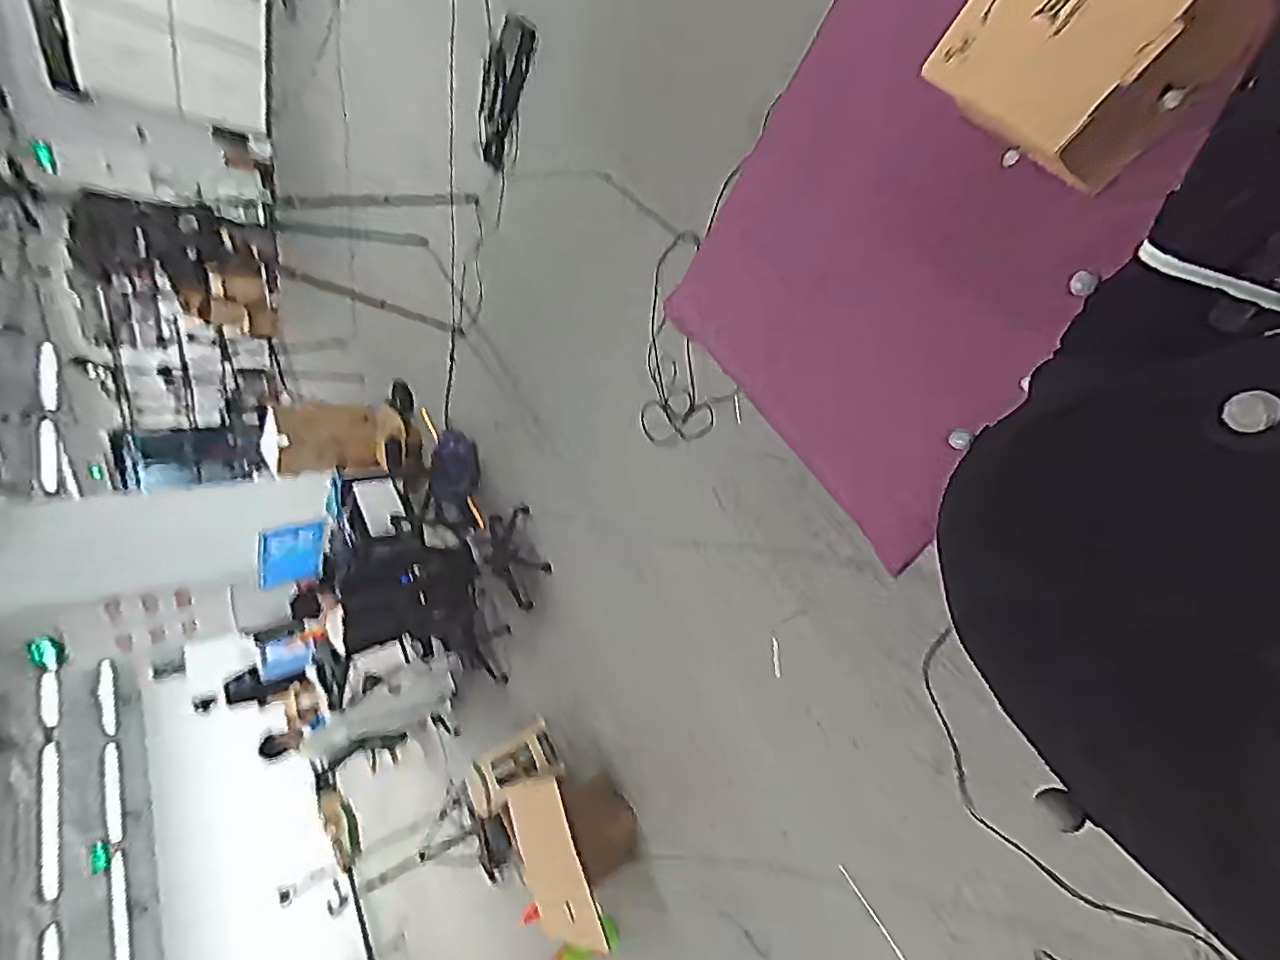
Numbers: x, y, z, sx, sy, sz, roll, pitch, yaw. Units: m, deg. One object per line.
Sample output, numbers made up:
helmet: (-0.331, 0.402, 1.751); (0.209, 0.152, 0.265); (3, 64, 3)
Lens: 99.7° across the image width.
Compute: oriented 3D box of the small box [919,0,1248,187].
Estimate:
small box: (0.426, -0.414, 0.526); (0.179, 0.176, 0.168); (57, 134, 24)
